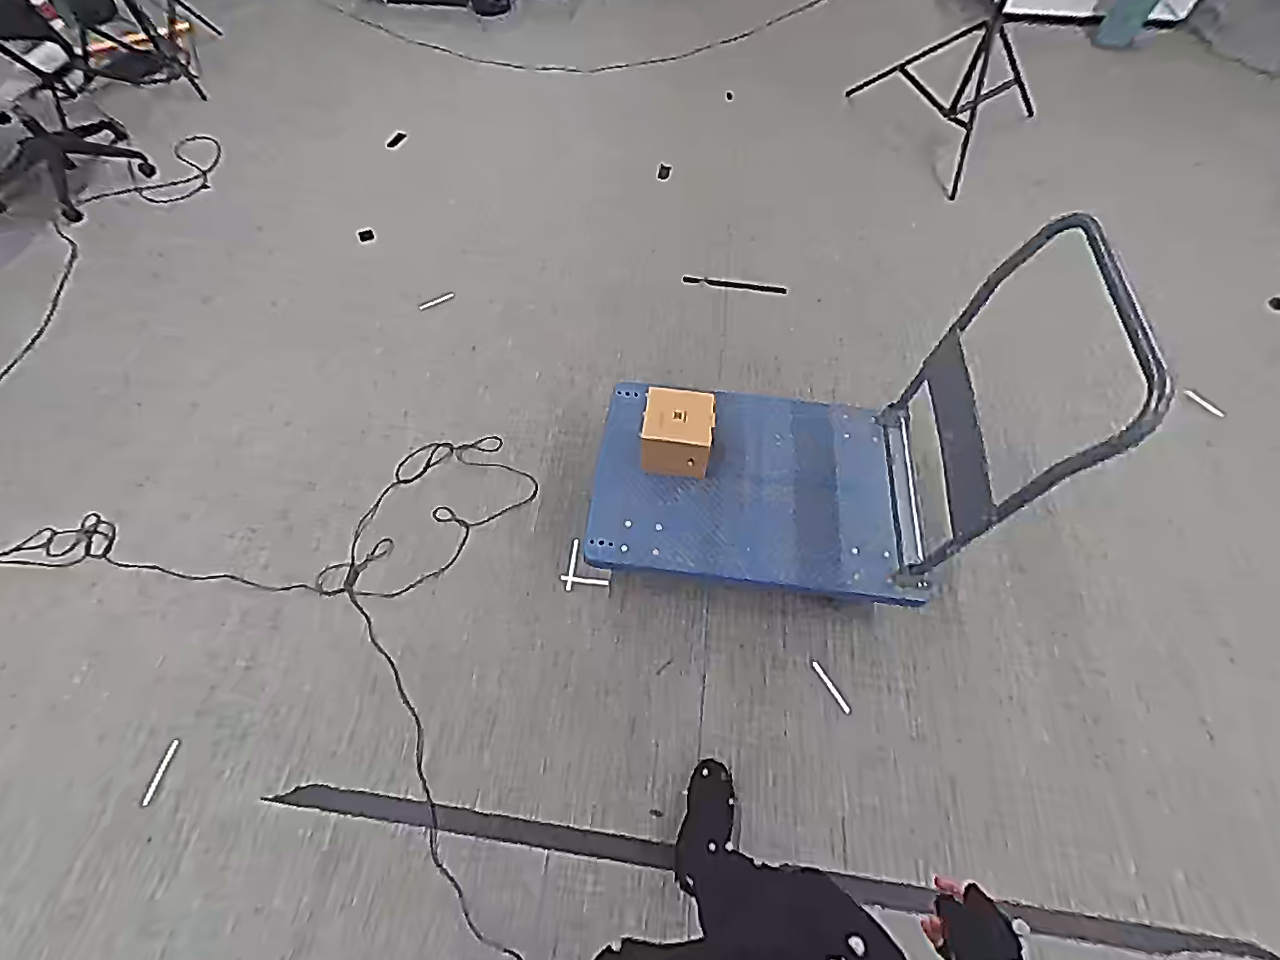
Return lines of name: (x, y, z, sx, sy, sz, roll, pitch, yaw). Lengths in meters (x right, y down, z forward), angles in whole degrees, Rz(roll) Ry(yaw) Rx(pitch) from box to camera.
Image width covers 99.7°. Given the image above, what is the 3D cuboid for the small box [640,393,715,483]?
small box: (0.098, -0.107, 1.439, 0.179, 0.176, 0.168, 7, 59, 4)
